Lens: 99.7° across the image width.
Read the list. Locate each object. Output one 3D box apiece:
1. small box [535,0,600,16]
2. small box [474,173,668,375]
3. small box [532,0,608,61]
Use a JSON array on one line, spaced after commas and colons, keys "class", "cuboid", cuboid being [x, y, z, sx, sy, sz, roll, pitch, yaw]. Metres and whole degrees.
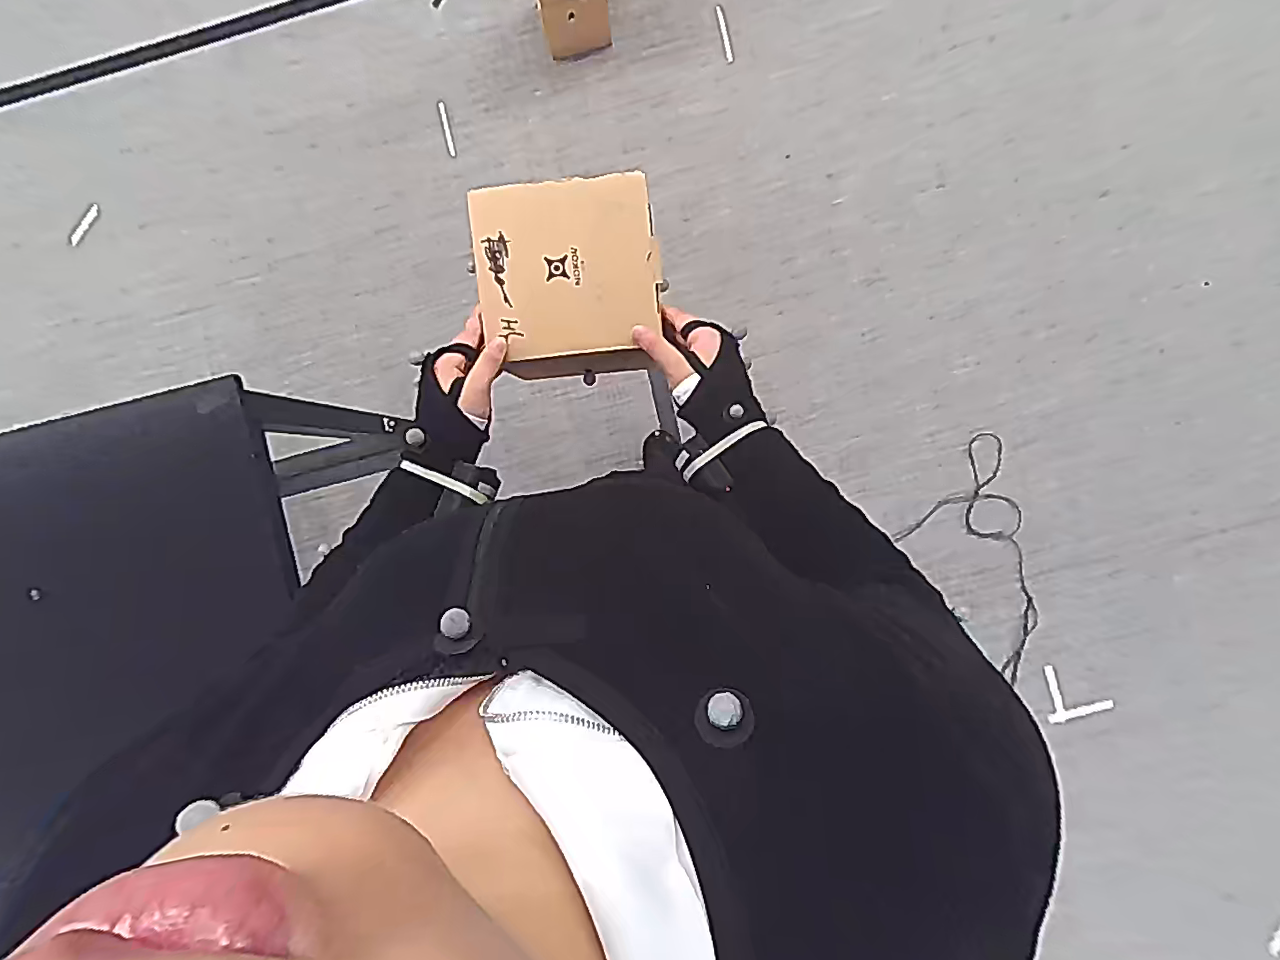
[{"class": "small box", "cuboid": [-0.189, -1.232, 1.239, 0.168, 0.176, 0.179, -13, 92, 2]}, {"class": "small box", "cuboid": [-0.068, -0.213, 0.600, 0.179, 0.176, 0.168, -5, 94, 0]}, {"class": "small box", "cuboid": [-0.188, -1.240, 1.403, 0.179, 0.176, 0.168, -13, 91, 1]}]
